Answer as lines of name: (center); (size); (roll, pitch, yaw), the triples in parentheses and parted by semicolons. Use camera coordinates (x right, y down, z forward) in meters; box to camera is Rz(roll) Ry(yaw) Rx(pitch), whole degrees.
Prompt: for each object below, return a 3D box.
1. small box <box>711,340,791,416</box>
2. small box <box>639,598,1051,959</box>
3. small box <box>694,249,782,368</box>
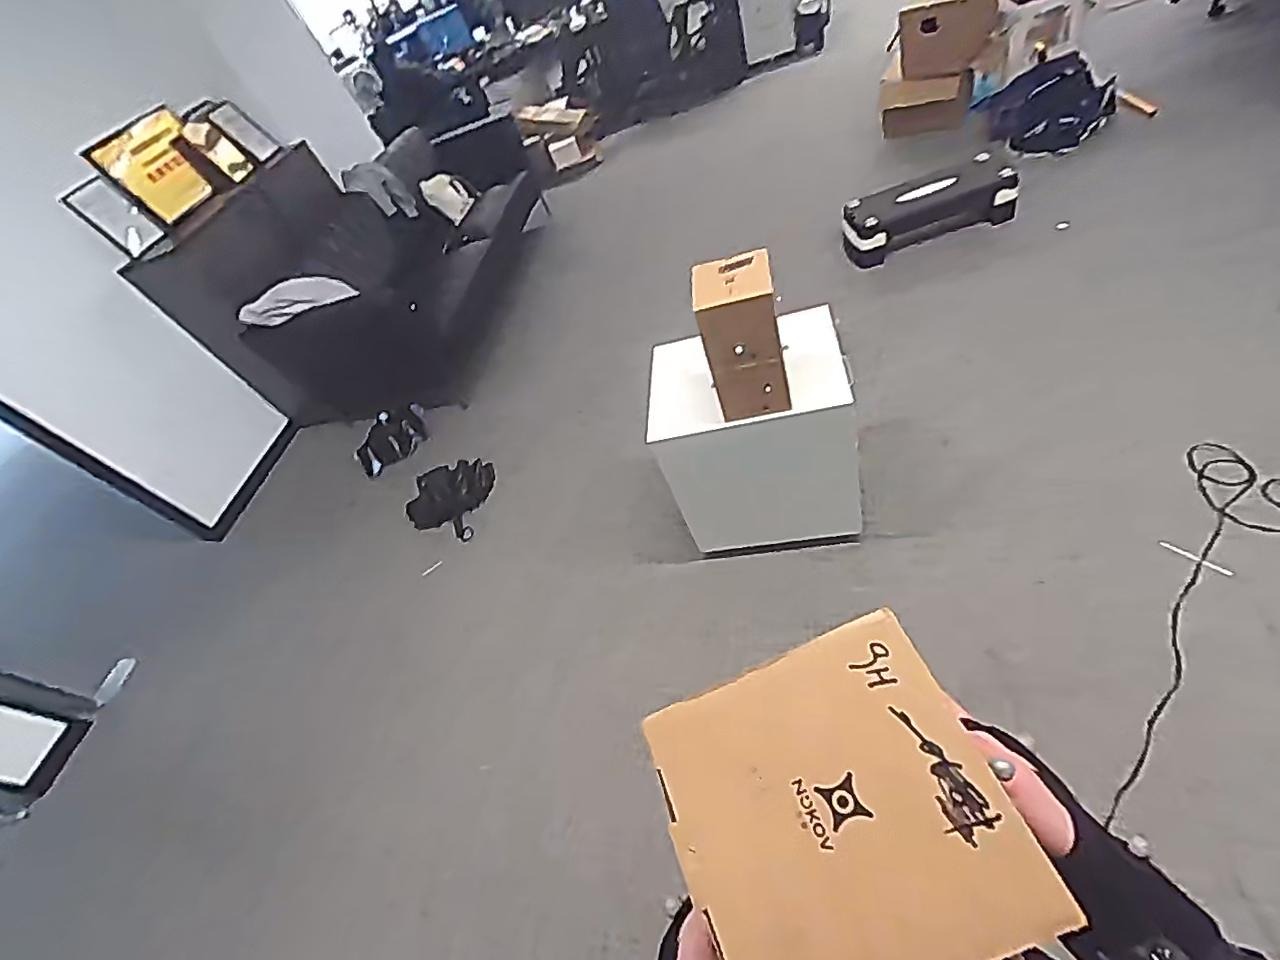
small box: (0.270, -0.273, 1.321); (0.168, 0.176, 0.179); (-8, 47, 16)
small box: (0.125, 0.207, 0.379); (0.179, 0.176, 0.168); (-25, 60, 7)
small box: (0.221, -0.378, 1.203); (0.168, 0.176, 0.179); (-8, 50, 17)
